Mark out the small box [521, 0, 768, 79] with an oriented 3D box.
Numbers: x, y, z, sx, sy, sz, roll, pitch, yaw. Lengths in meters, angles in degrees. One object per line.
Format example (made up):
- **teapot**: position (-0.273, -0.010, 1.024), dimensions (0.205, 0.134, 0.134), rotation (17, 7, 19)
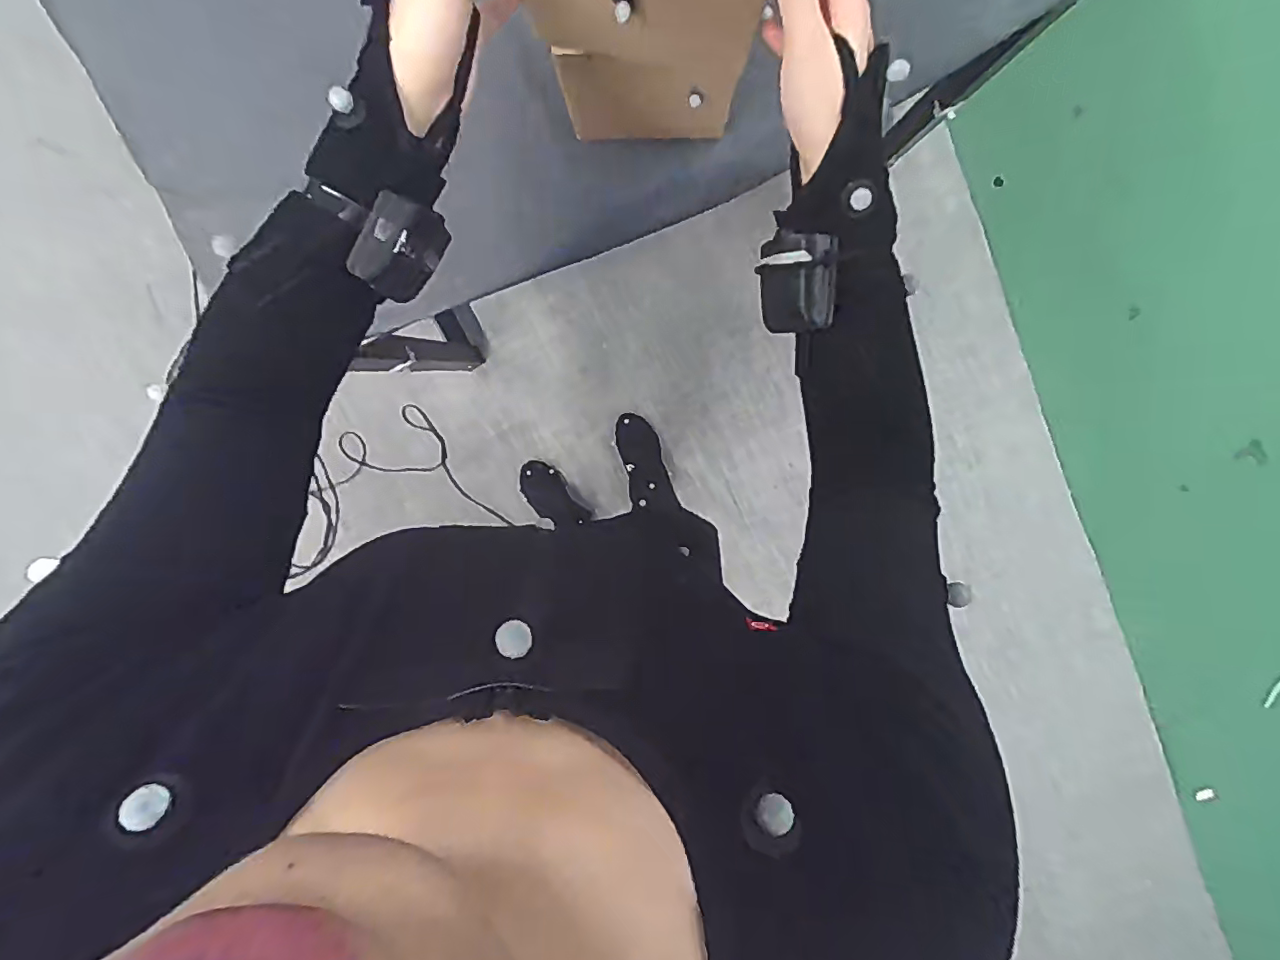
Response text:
- **small box**: position (0.010, -0.405, 0.364), dimensions (0.179, 0.176, 0.168), rotation (9, 106, 0)
